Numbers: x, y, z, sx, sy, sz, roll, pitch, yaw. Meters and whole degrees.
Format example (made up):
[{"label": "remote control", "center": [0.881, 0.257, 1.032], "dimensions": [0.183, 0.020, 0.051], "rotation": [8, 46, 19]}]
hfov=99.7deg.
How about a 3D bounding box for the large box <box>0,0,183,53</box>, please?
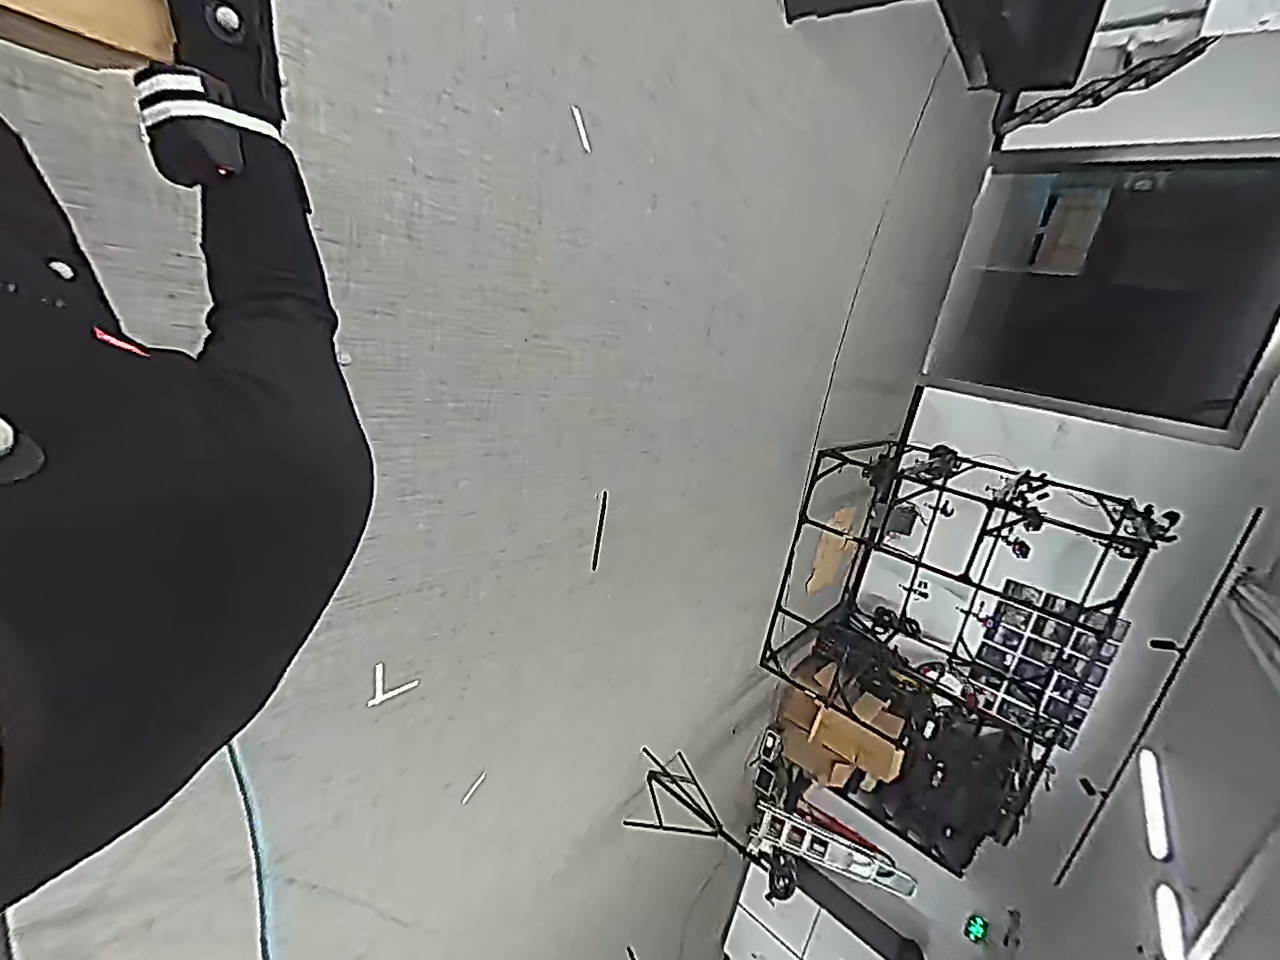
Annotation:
[{"label": "large box", "center": [-0.536, -0.488, 0.271], "dimensions": [0.408, 0.320, 0.320], "rotation": [-11, 124, -52]}]
